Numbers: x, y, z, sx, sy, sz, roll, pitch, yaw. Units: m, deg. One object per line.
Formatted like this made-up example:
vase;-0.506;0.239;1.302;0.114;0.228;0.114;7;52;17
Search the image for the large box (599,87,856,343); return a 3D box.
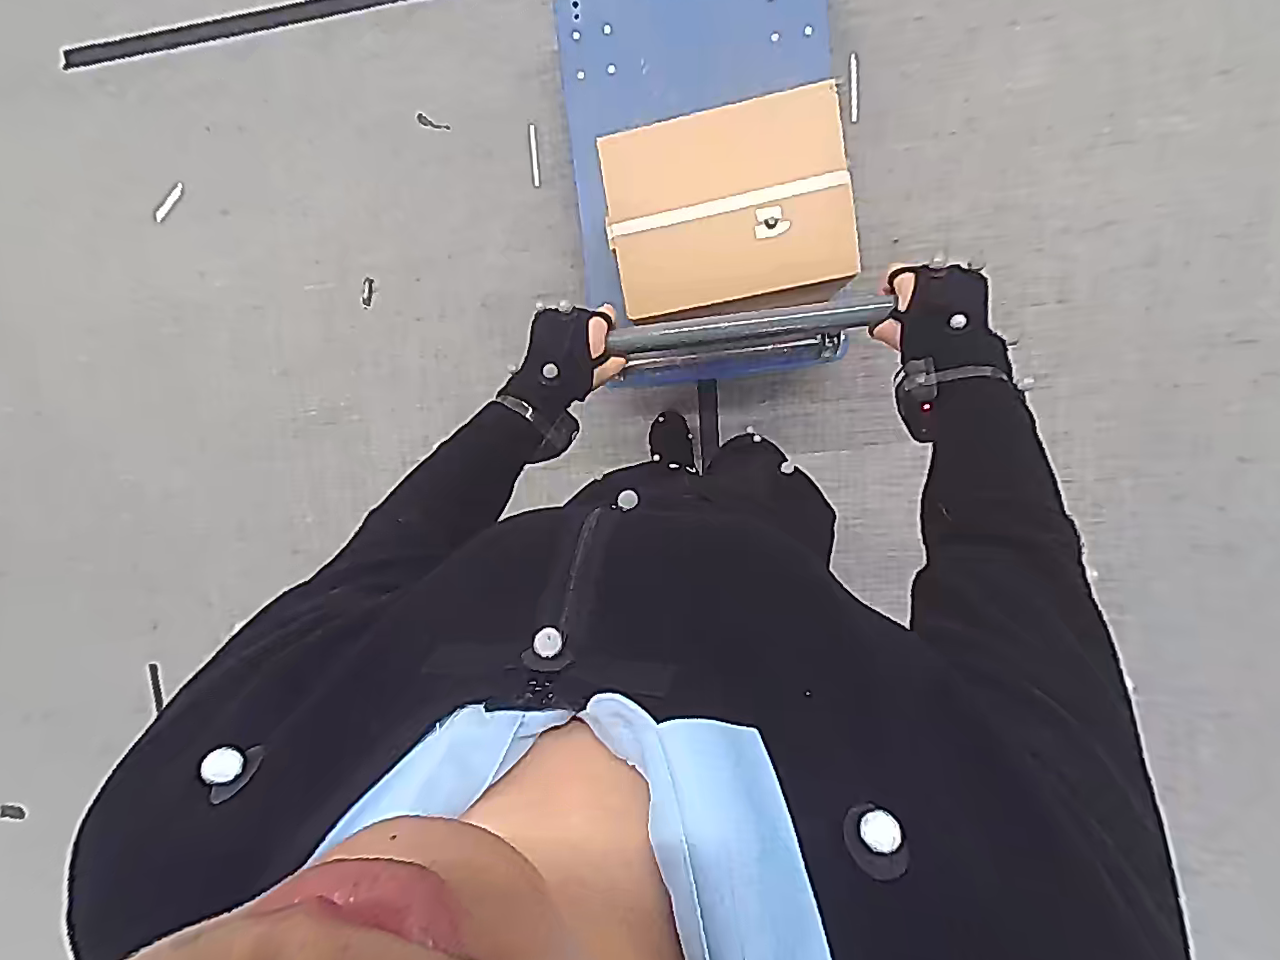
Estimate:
large box;0.161;-0.483;1.077;0.408;0.320;0.320;-10;97;6
